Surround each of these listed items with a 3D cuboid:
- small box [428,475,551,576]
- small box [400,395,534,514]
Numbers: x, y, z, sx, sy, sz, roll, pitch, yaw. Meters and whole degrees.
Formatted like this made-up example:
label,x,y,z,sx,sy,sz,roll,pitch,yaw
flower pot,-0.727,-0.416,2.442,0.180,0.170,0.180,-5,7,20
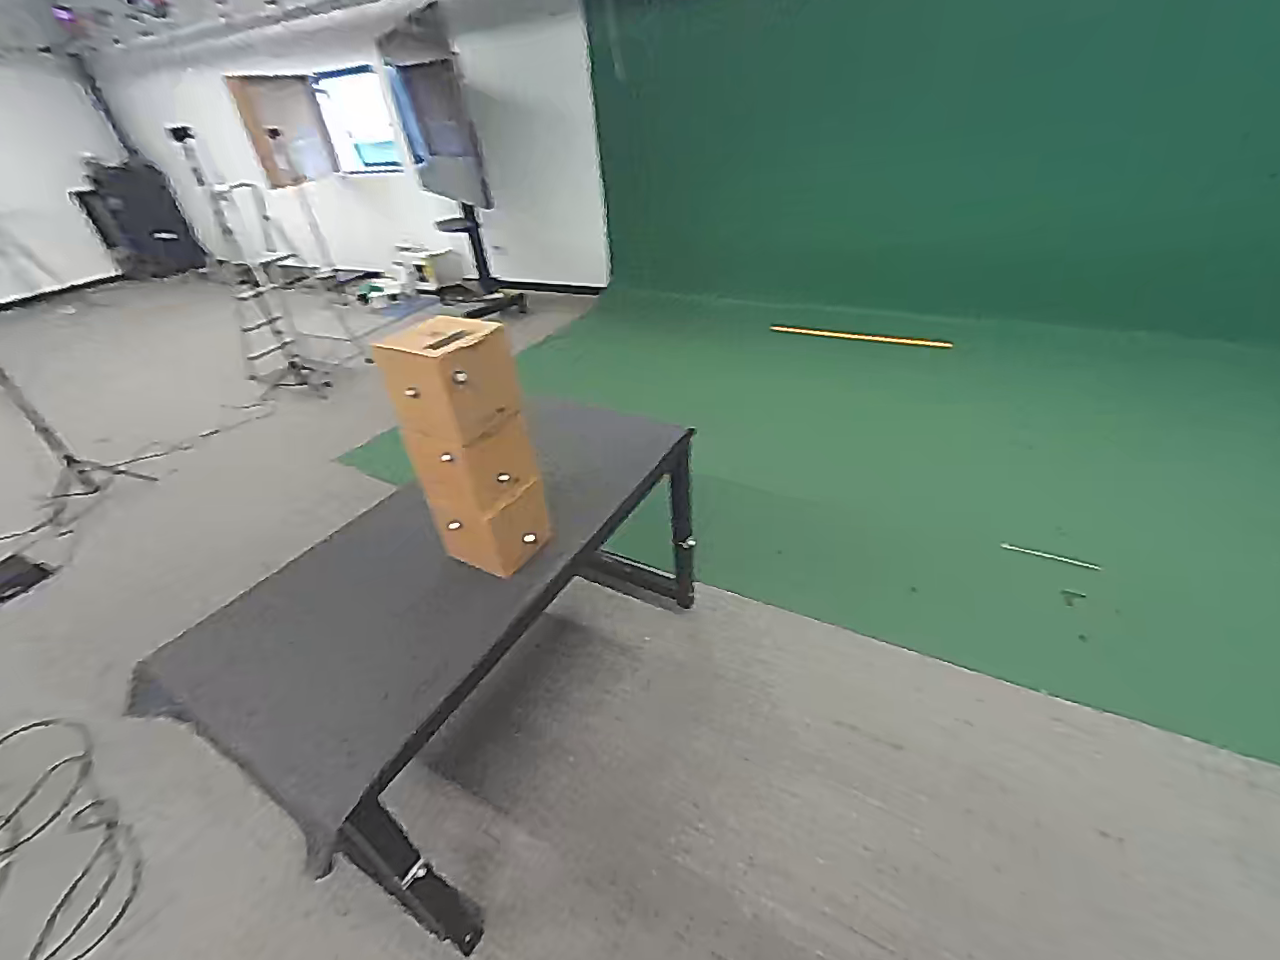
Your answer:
label,x,y,z,sx,sy,sz,roll,pitch,yaw
small box,-0.322,0.083,1.183,0.179,0.176,0.168,15,40,27
small box,-0.343,-0.053,1.097,0.179,0.176,0.168,15,39,28
